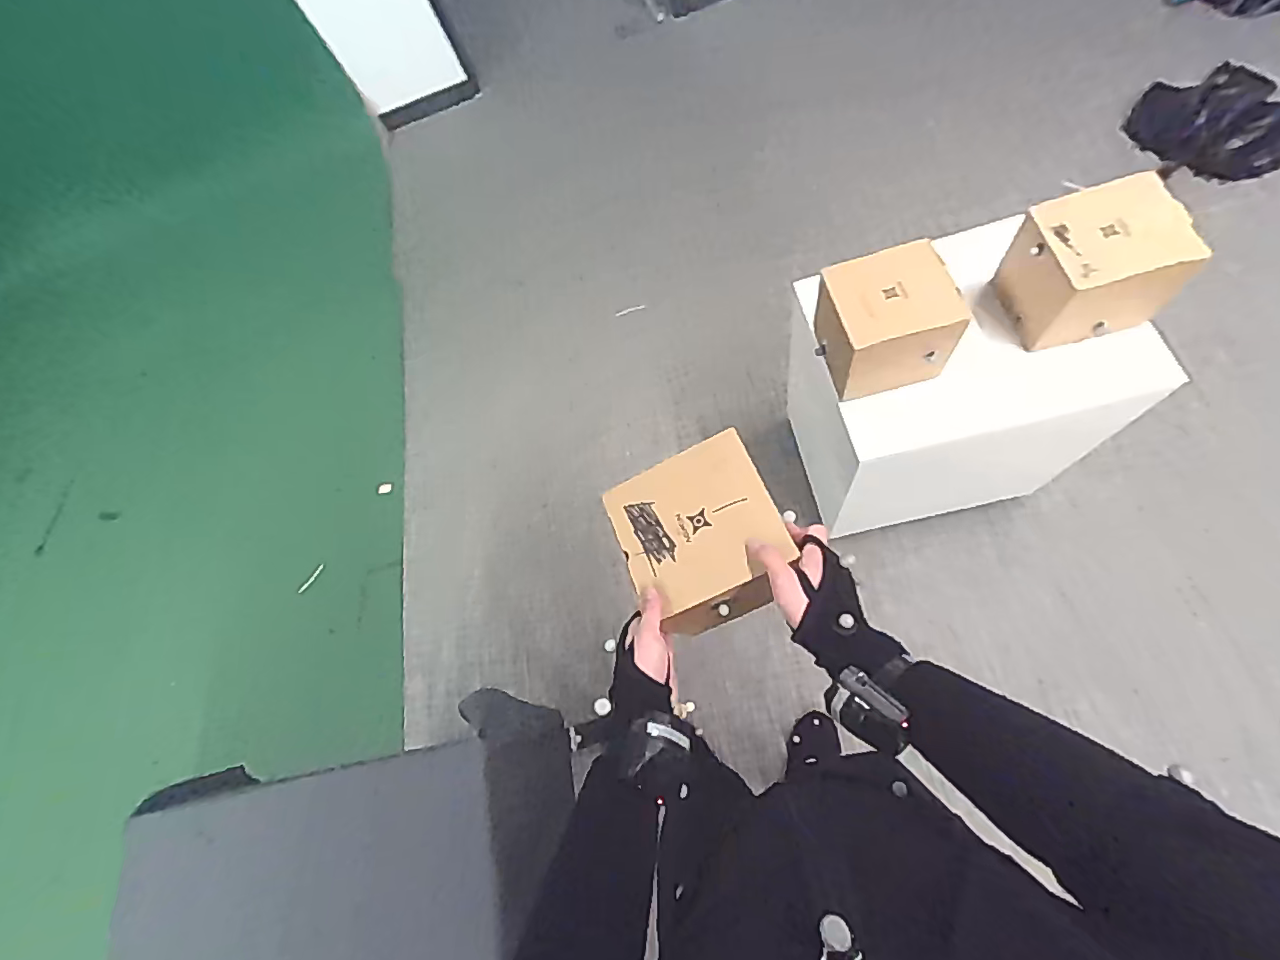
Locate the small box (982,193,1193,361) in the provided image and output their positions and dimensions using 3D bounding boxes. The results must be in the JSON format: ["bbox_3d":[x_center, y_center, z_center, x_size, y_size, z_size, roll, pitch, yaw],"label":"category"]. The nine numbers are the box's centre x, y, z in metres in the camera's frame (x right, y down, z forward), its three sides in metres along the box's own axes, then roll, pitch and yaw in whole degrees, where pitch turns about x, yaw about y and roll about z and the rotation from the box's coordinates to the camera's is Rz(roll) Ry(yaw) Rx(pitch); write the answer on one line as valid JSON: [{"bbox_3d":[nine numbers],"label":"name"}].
[{"bbox_3d":[0.704,-0.320,0.878,0.179,0.176,0.168,-12,67,6],"label":"small box"}]

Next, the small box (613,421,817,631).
[{"bbox_3d":[0.095,0.066,0.638,0.179,0.176,0.168,-25,64,8],"label":"small box"}]

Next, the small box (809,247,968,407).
[{"bbox_3d":[0.402,-0.248,0.909,0.179,0.176,0.168,-15,65,5],"label":"small box"}]
